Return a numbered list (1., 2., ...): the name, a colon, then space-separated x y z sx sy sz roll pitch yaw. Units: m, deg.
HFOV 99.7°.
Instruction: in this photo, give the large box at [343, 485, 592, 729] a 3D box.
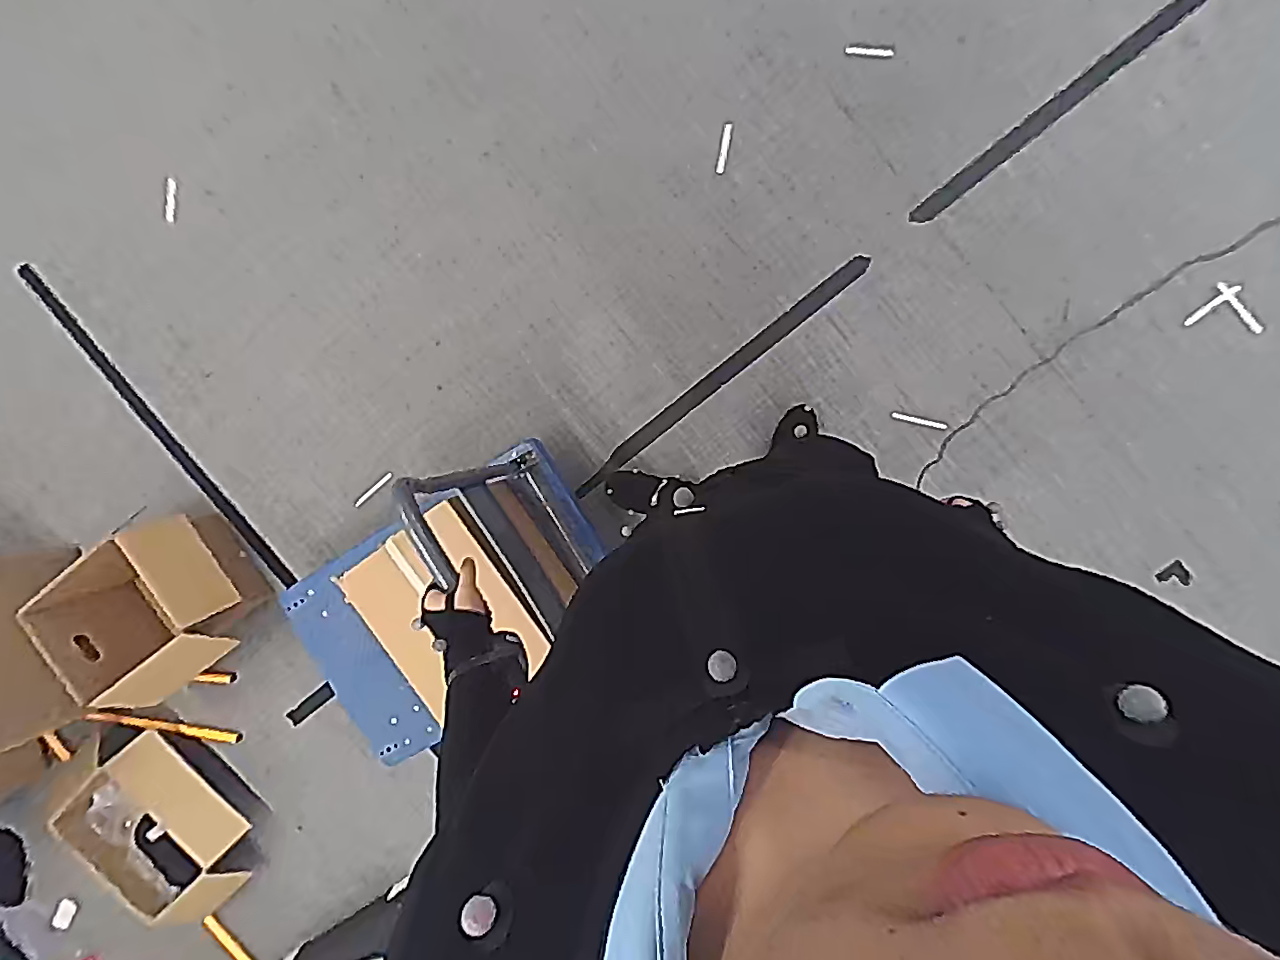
1. large box: -0.372 0.270 1.263 0.320 0.320 0.408 -35 91 9
